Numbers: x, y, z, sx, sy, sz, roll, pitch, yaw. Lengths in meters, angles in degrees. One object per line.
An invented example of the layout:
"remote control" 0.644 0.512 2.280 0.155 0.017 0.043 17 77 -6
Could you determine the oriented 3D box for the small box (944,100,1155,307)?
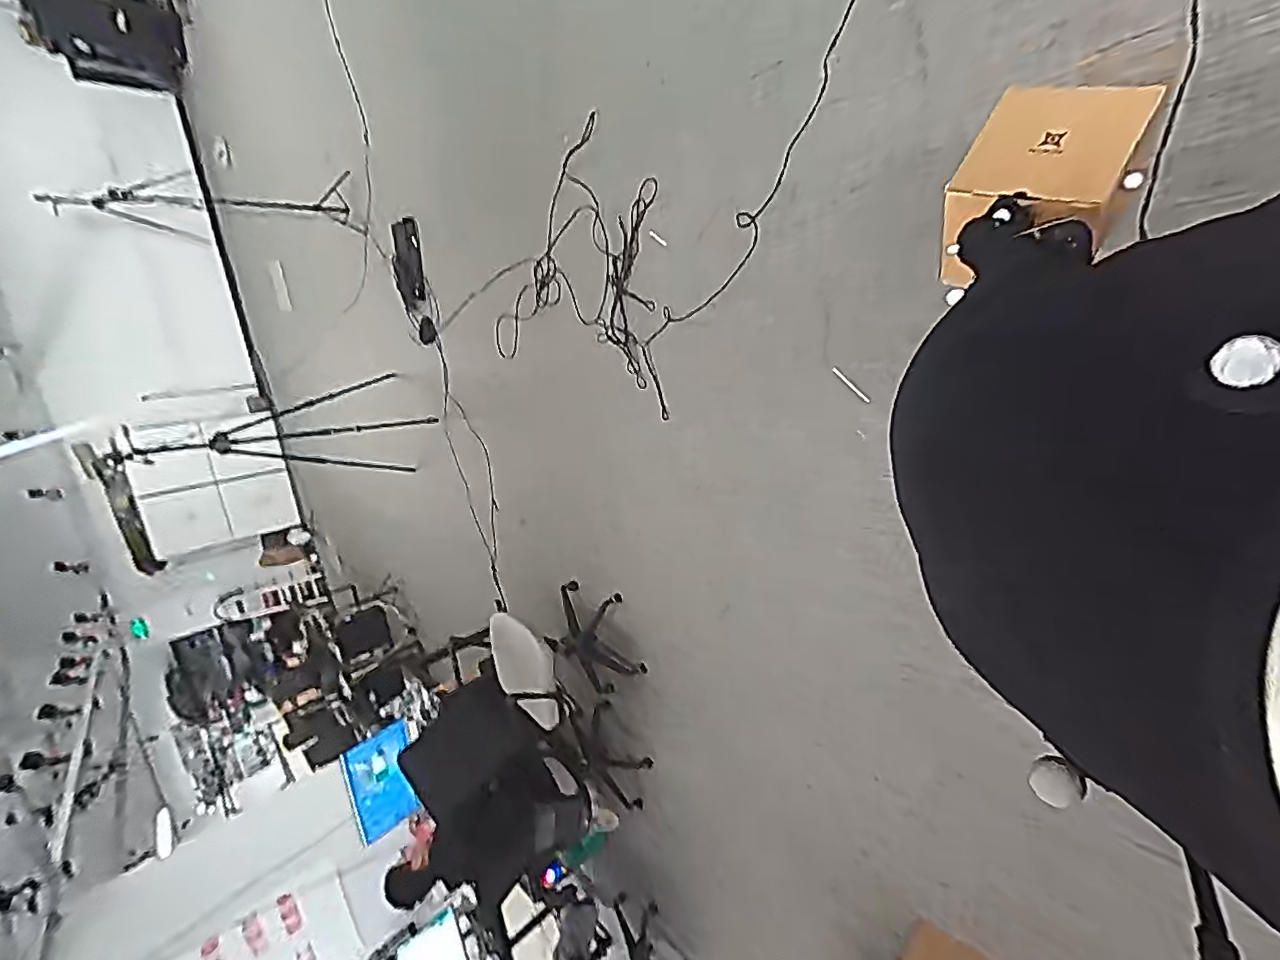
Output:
"small box" 0.526 -0.367 0.724 0.168 0.176 0.179 26 80 34
